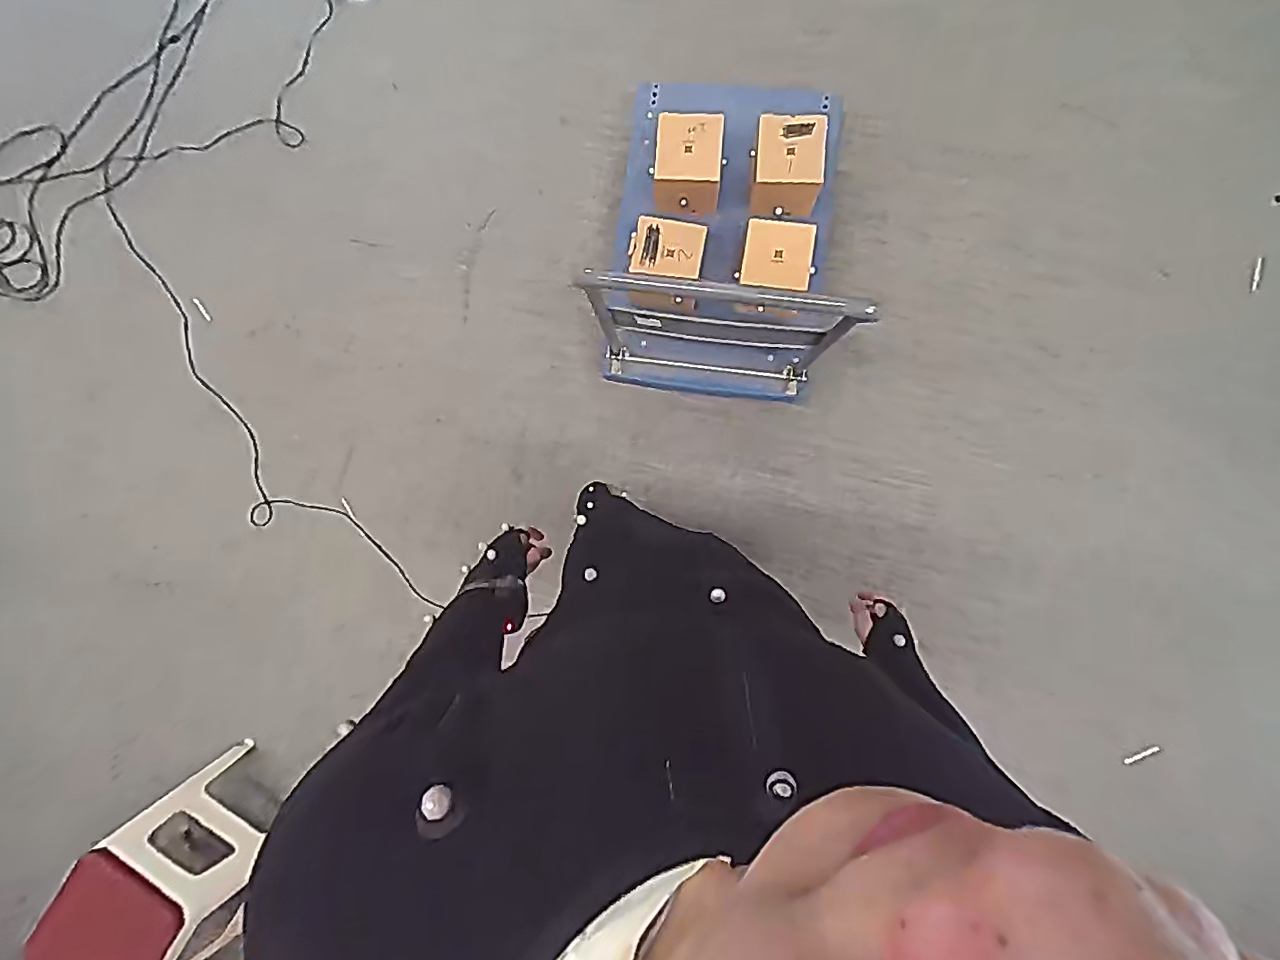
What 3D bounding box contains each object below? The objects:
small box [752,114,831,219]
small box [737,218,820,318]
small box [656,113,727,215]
[{"bbox_3d":[0.387,-0.809,1.405,0.168,0.176,0.179,4,88,6],"label":"small box"},{"bbox_3d":[0.350,-0.541,1.396,0.168,0.176,0.179,9,88,5],"label":"small box"},{"bbox_3d":[0.136,-0.826,1.427,0.168,0.176,0.179,5,87,4],"label":"small box"}]
